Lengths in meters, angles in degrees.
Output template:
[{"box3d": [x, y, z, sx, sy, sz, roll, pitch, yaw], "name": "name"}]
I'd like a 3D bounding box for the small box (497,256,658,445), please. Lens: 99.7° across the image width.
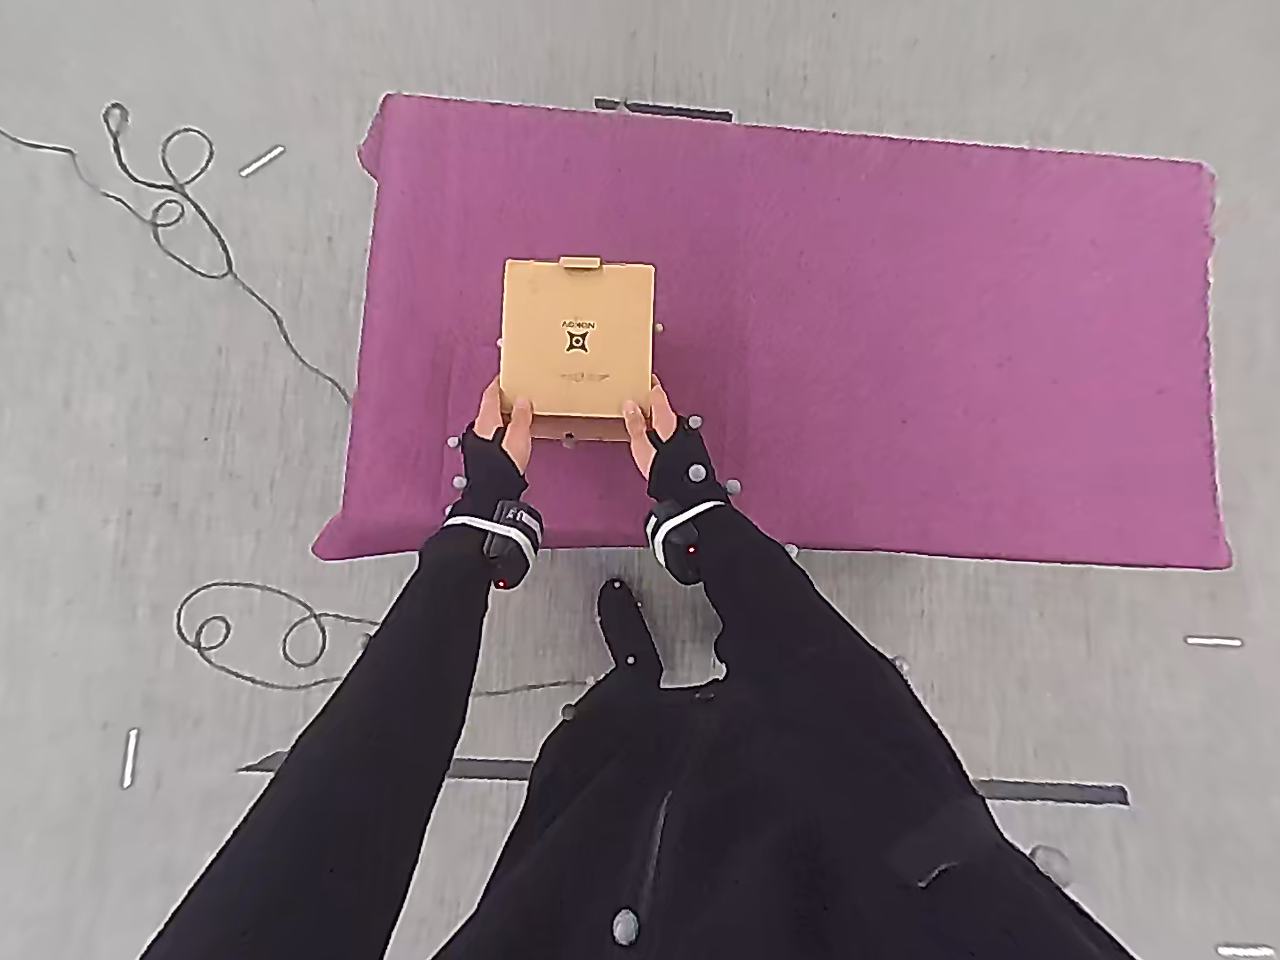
[{"box3d": [-0.069, -0.146, 0.659, 0.168, 0.176, 0.179, 3, 85, -2], "name": "small box"}]
